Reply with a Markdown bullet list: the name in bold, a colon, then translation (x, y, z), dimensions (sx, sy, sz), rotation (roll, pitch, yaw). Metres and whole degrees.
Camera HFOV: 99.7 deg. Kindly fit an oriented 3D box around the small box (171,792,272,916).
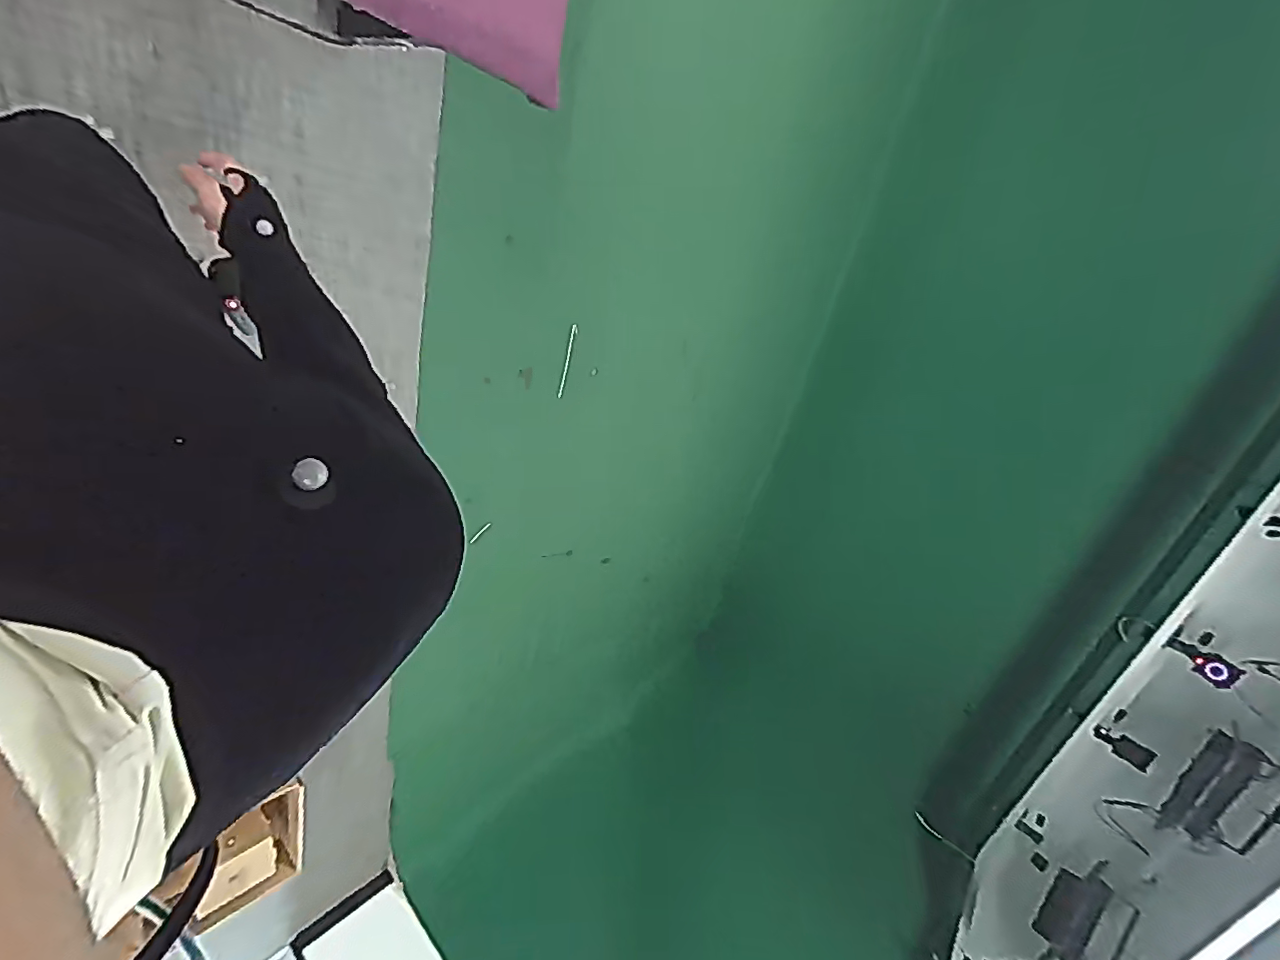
- **small box**: translation (-1.109, 0.980, 1.436), dimensions (0.179, 0.176, 0.168), rotation (-12, 125, -47)
